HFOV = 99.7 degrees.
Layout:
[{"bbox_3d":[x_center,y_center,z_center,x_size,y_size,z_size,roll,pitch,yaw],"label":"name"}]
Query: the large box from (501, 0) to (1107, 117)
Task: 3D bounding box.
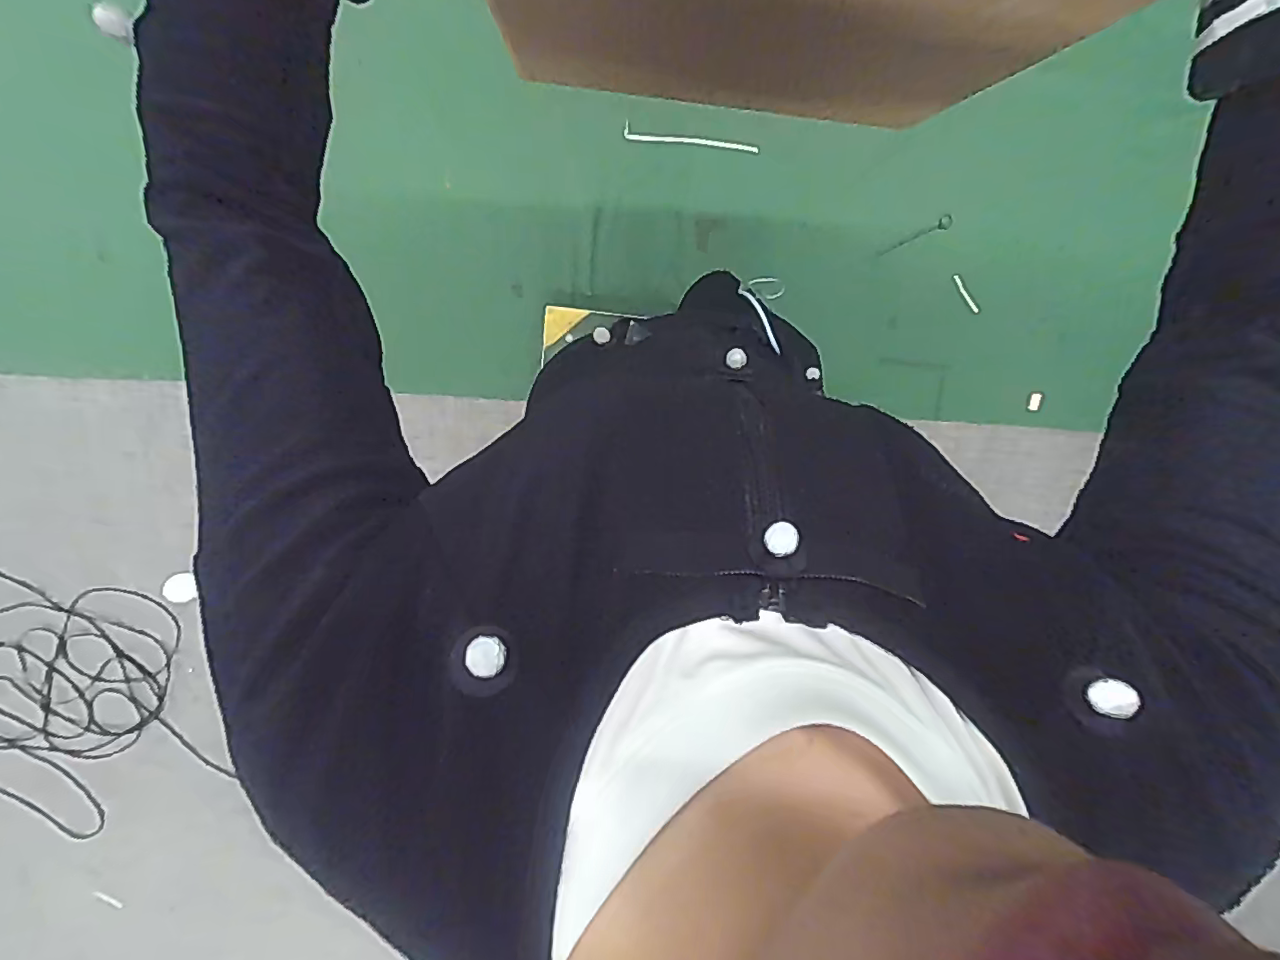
[{"bbox_3d":[0.103,-0.478,0.357,0.408,0.320,0.320,3,110,-6],"label":"large box"}]
